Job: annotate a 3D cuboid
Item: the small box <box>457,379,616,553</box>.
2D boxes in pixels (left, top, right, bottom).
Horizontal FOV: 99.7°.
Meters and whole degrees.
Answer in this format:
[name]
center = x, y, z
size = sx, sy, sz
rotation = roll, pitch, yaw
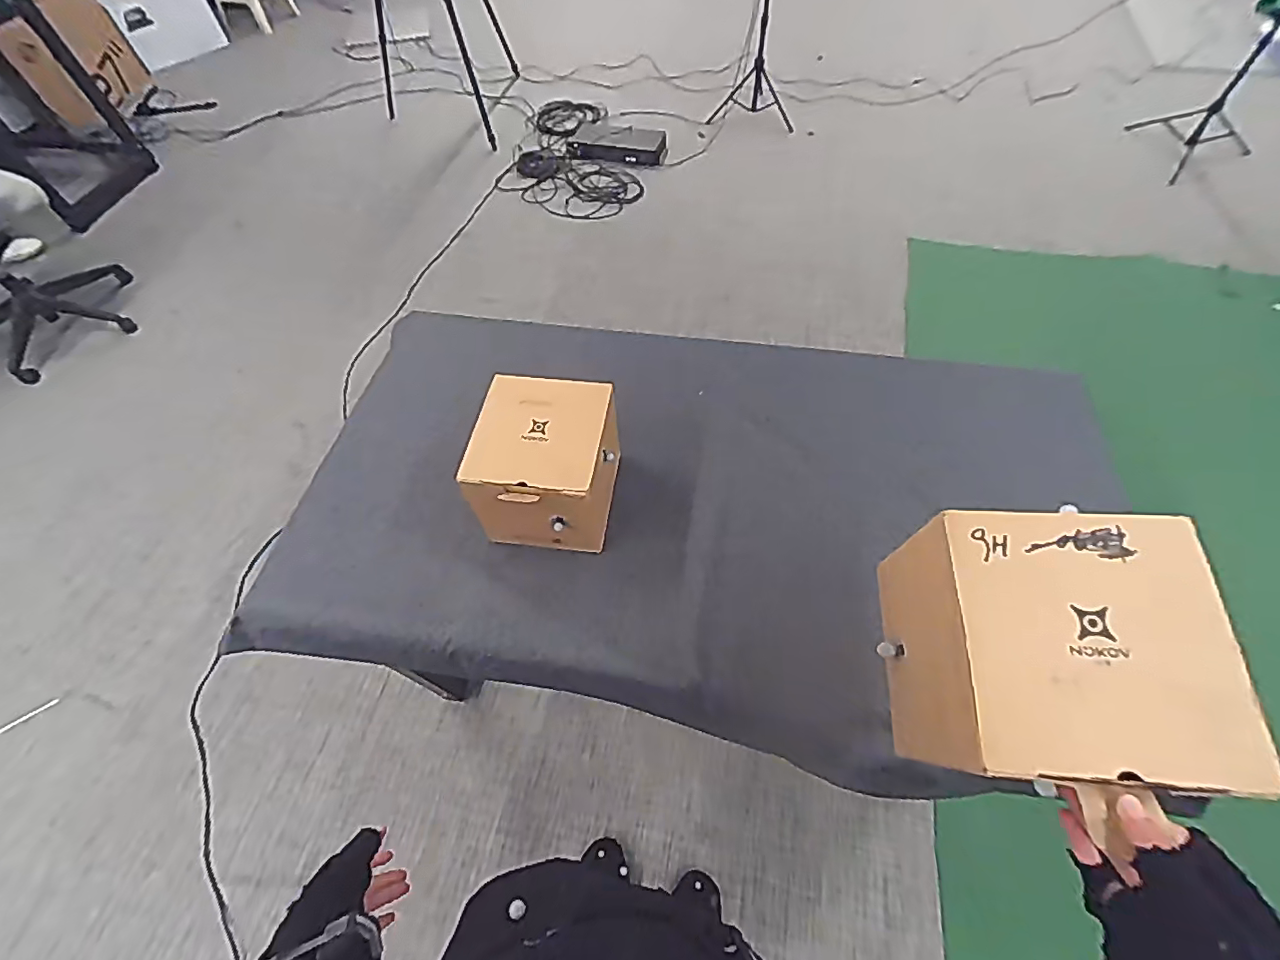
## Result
[small box]
center = -0.127, -0.015, 0.751
size = 0.168, 0.176, 0.179
rotation = 6, 56, 5
